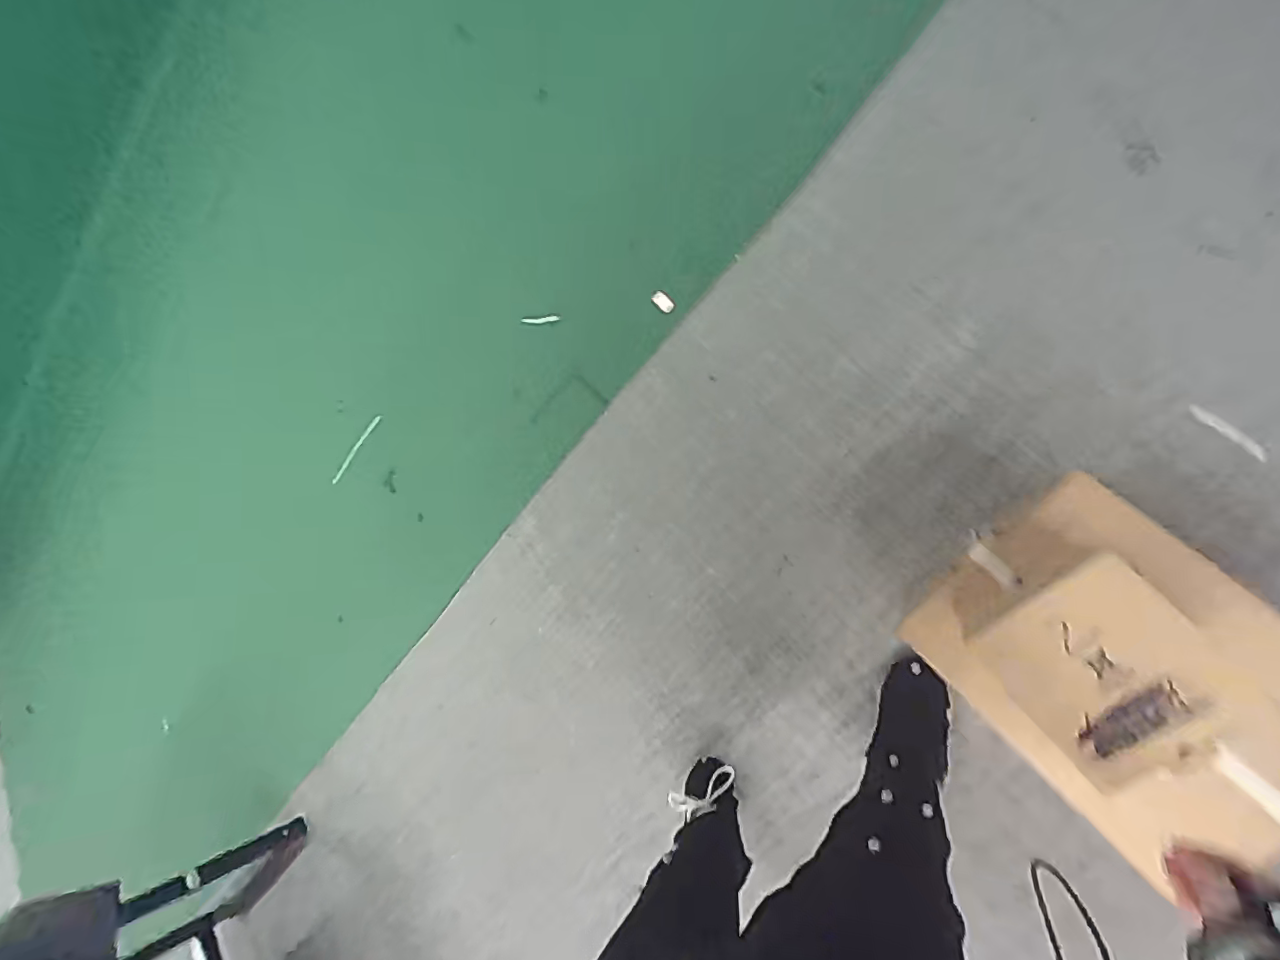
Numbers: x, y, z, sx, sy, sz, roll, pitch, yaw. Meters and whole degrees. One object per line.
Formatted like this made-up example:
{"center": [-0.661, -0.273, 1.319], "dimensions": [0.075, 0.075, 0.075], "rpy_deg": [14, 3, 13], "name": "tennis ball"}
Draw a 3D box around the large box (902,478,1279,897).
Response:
{"center": [0.652, 0.245, 0.782], "dimensions": [0.320, 0.320, 0.408], "rpy_deg": [-49, 68, 17], "name": "large box"}
